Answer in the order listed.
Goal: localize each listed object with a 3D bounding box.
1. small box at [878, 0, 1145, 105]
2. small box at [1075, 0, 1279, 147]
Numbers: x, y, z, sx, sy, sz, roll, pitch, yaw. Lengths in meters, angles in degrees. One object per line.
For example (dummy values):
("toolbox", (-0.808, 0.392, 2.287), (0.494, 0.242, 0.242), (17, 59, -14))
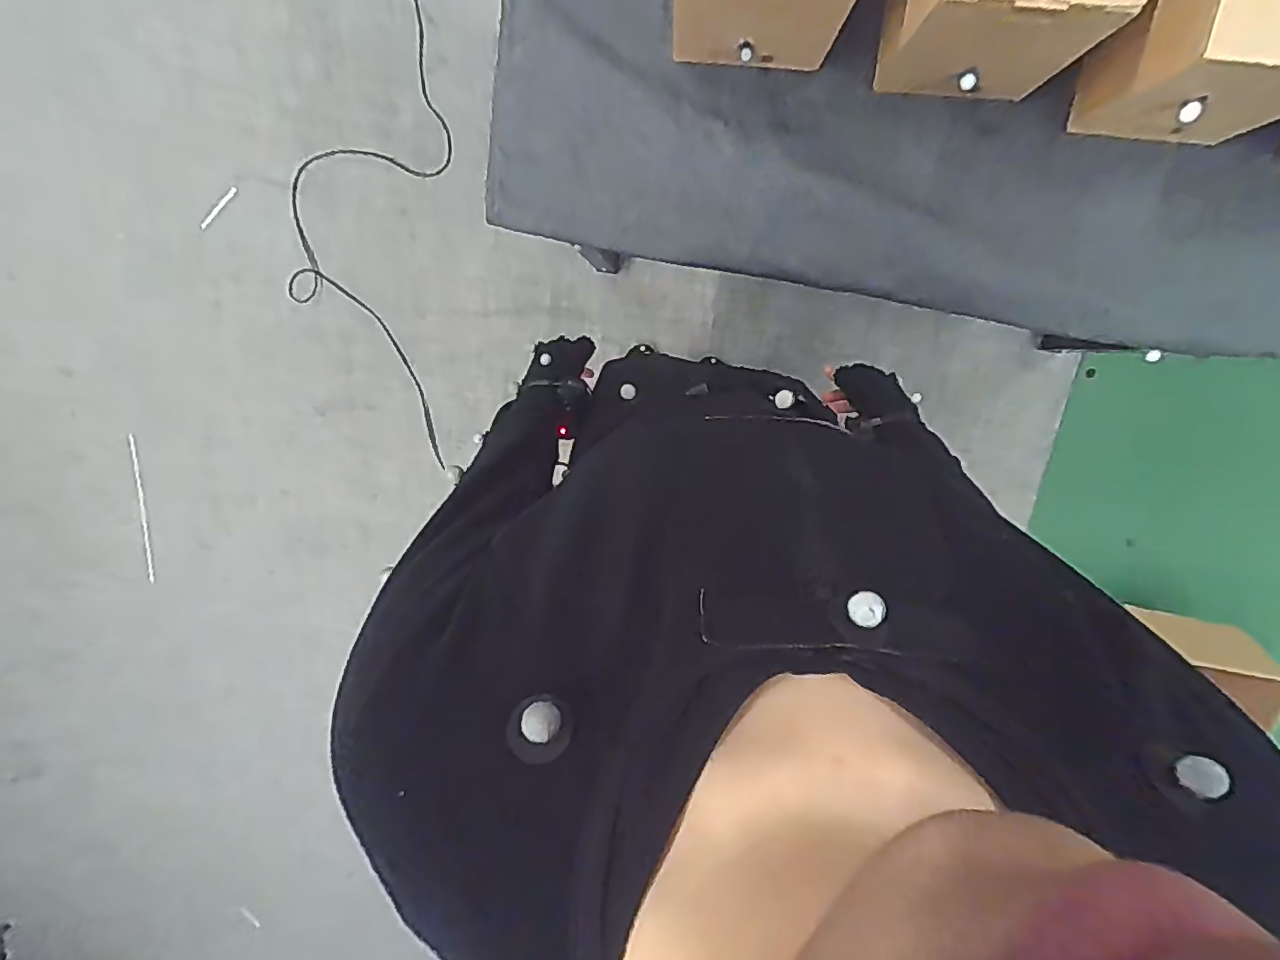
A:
("small box", (0.344, -0.492, 0.507), (0.168, 0.176, 0.179), (6, 104, 3))
("small box", (0.562, -0.440, 0.507), (0.168, 0.176, 0.179), (6, 103, 2))
